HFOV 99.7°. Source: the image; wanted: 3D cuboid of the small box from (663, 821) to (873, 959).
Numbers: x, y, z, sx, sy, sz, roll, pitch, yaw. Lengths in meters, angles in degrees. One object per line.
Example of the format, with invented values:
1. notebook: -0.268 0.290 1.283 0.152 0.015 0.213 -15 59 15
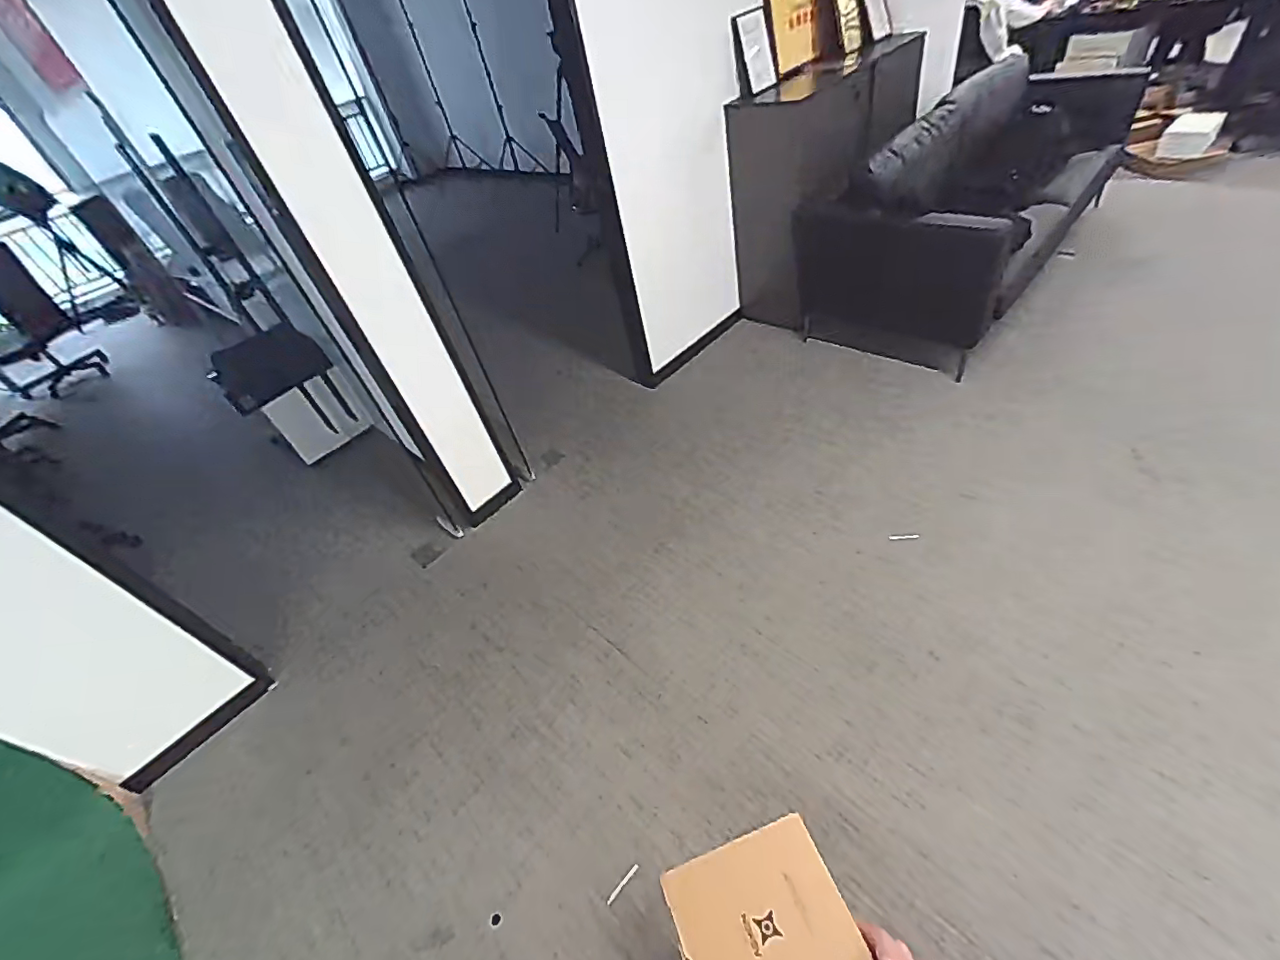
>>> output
1. small box: 0.144 0.523 0.594 0.179 0.176 0.168 -19 38 -8
